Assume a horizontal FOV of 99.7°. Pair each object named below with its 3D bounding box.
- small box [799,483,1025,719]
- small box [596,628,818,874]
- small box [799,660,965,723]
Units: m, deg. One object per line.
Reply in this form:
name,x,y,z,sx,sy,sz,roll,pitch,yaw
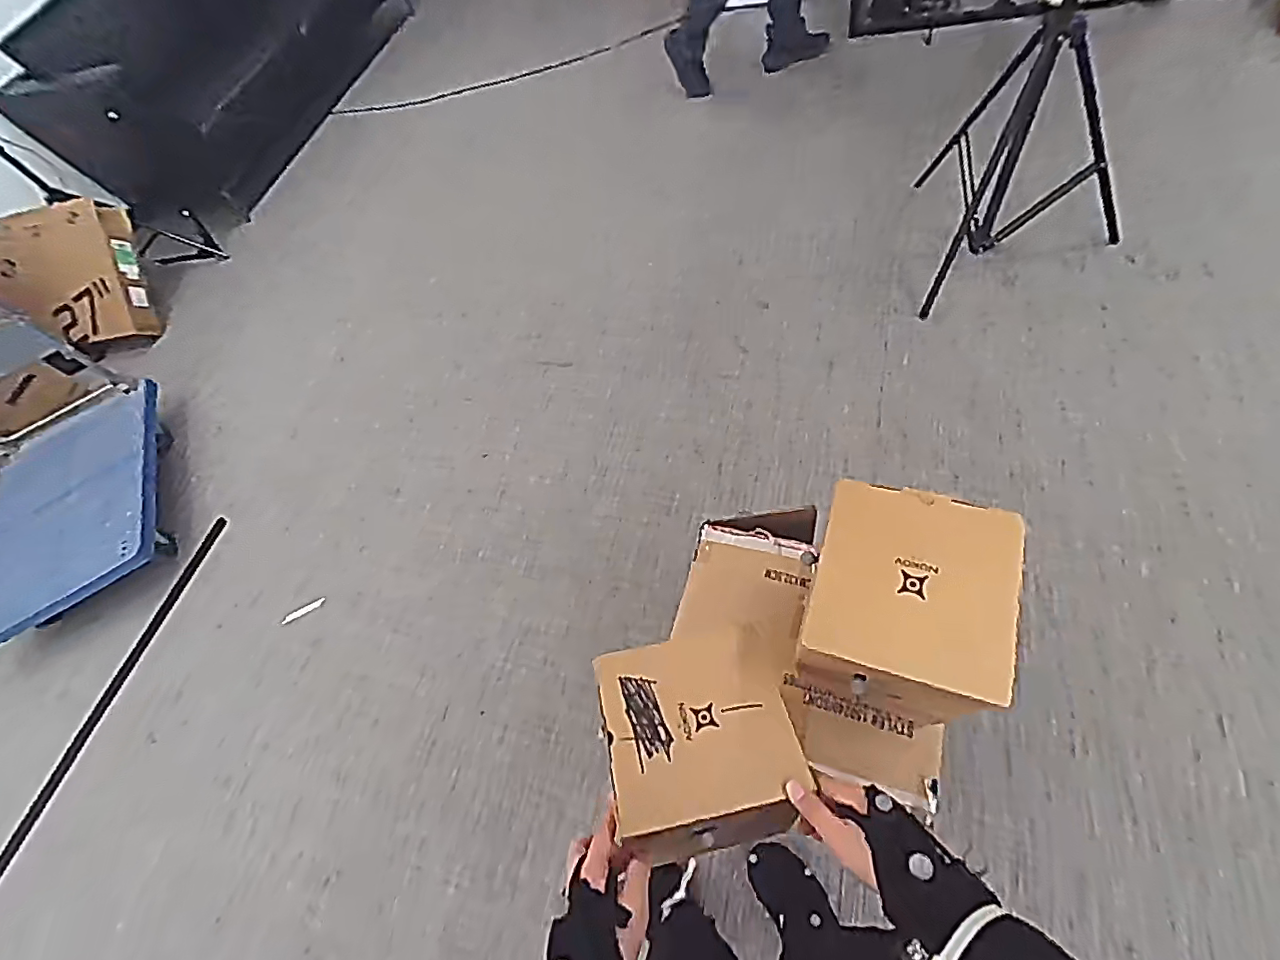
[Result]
small box,0.264,0.130,0.555,0.168,0.176,0.179,12,66,20
small box,0.059,0.285,0.567,0.179,0.176,0.168,-10,46,-7
small box,0.311,0.199,0.695,0.179,0.176,0.168,15,68,20
